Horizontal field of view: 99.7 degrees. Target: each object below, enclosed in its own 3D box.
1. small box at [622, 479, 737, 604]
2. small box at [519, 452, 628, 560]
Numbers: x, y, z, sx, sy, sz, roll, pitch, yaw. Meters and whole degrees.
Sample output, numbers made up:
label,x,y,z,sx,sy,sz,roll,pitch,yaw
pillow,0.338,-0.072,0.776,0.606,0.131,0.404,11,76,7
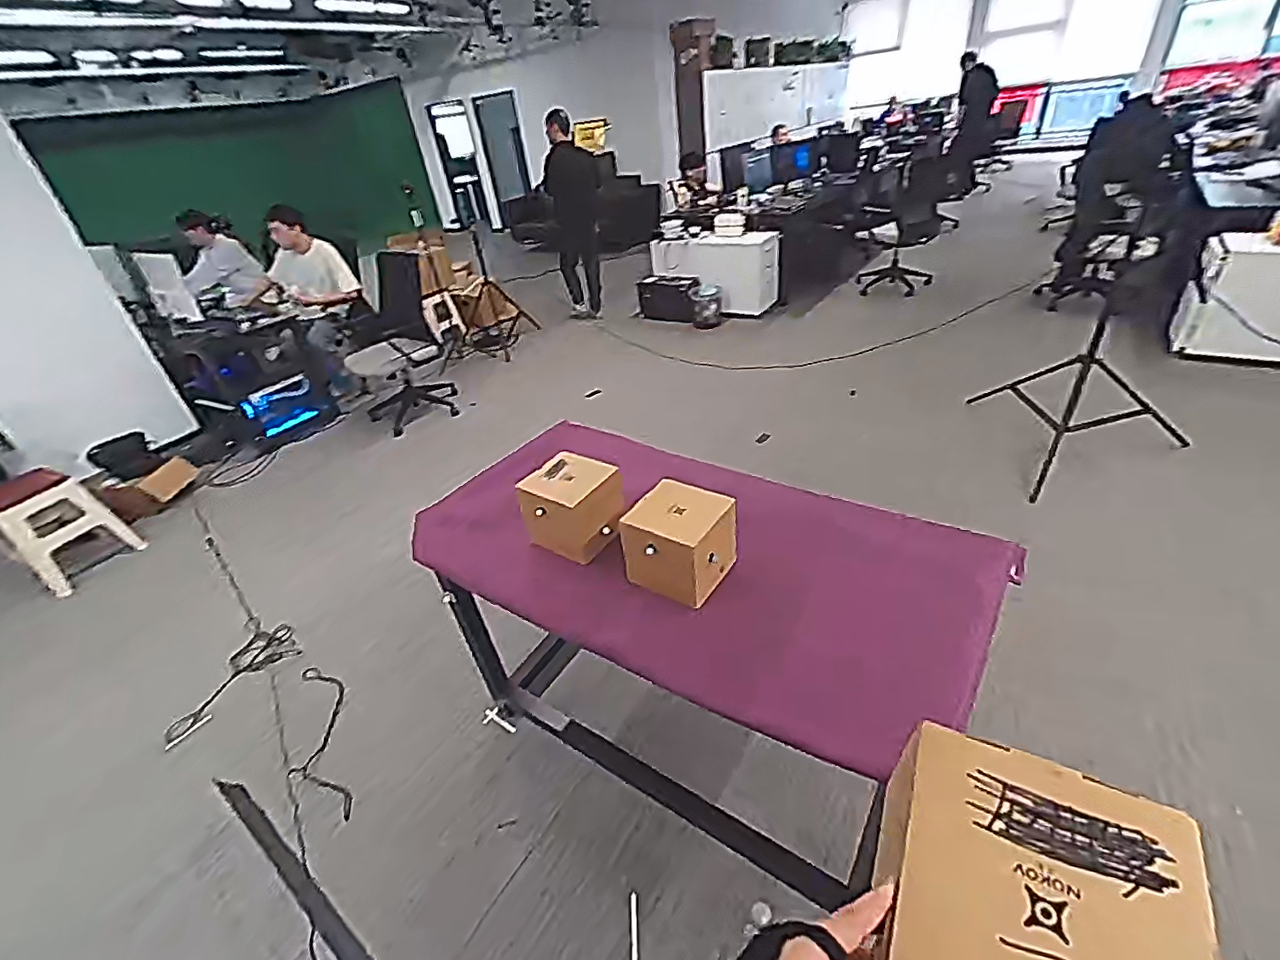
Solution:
label,x,y,z,sx,sy,sz,roll,pitch,yaw
small box,0.087,0.127,1.114,0.179,0.176,0.168,17,41,32
small box,-0.148,0.060,1.258,0.179,0.176,0.168,17,42,32
